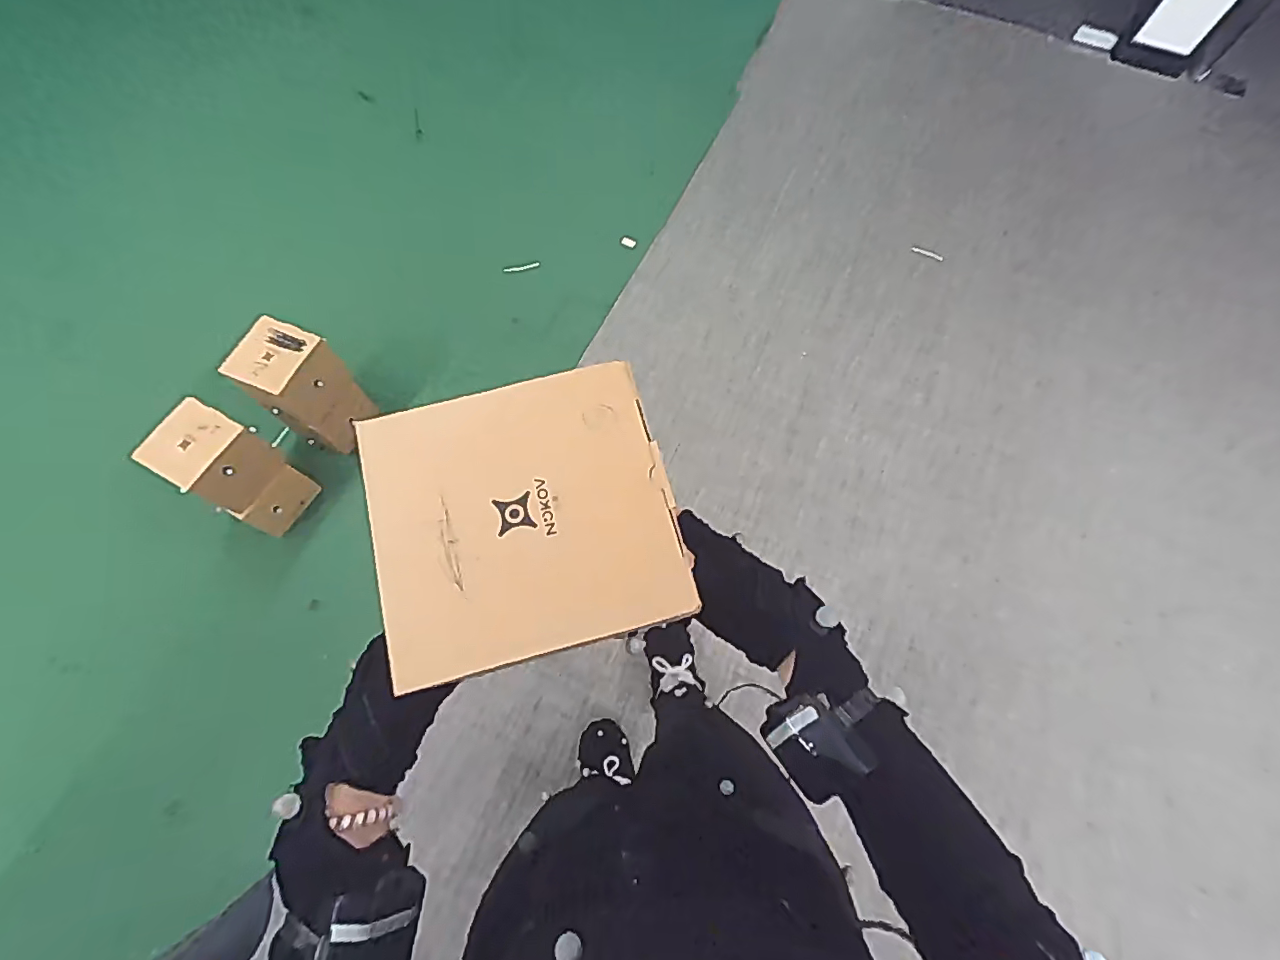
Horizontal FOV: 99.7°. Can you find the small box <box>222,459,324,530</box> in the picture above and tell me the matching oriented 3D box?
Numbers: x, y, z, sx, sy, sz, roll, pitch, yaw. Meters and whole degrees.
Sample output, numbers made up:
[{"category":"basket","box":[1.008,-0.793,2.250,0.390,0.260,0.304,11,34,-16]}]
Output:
[{"category":"small box","box":[-0.976,0.013,1.411,0.179,0.176,0.168,28,71,10]}]

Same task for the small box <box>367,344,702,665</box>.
[{"category":"small box","box":[-0.068,0.028,0.400,0.179,0.176,0.168,-15,74,-4]}]

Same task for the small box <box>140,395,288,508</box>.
[{"category":"small box","box":[-0.977,-0.059,1.262,0.168,0.176,0.179,27,70,9]}]
